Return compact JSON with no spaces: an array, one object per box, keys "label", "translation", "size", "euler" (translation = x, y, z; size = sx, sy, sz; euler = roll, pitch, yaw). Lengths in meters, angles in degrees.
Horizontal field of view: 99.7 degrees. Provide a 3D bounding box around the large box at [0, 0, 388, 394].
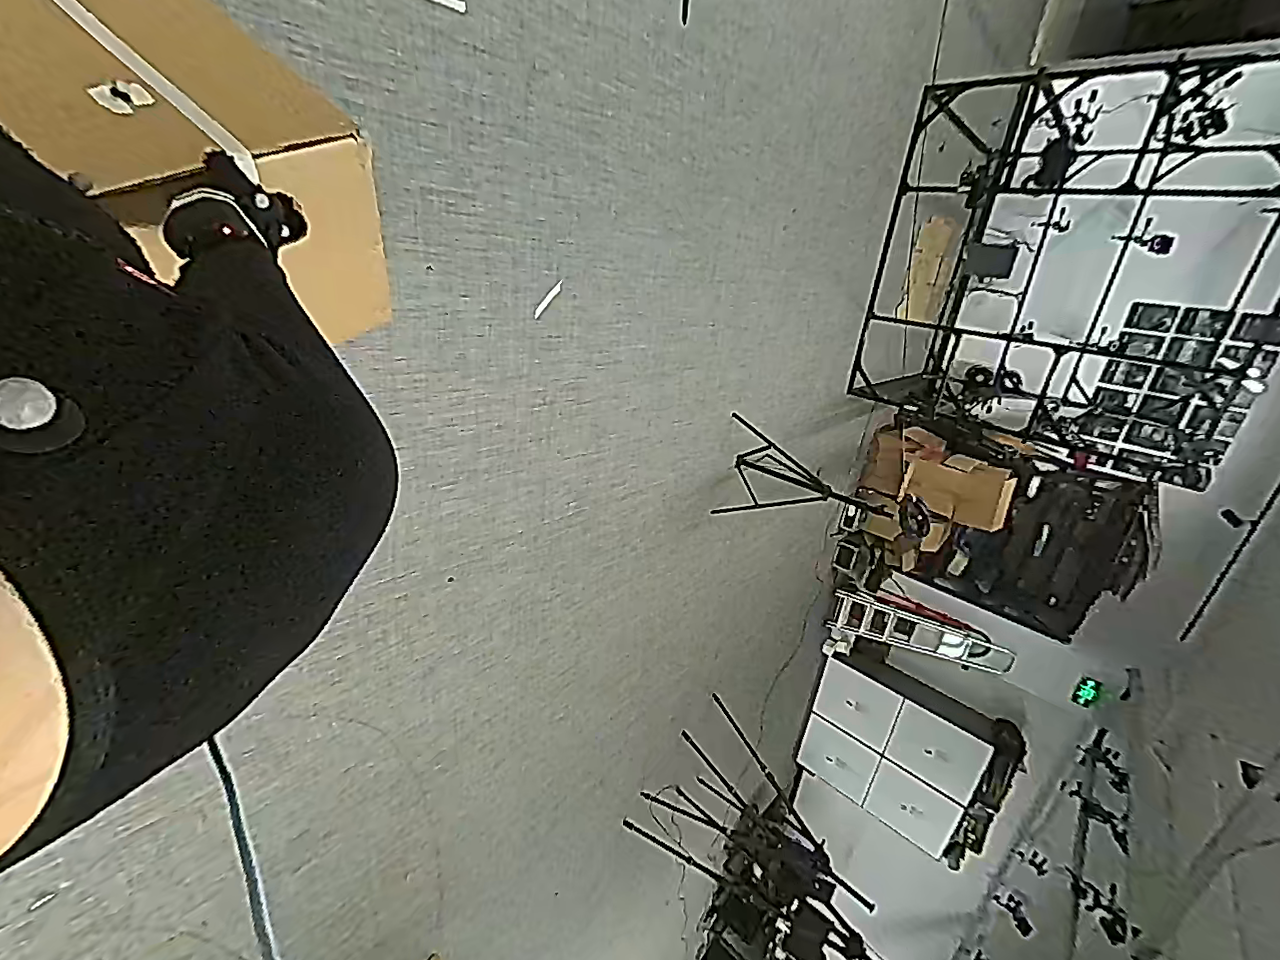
[{"label":"large box","translation":[-0.628,-0.403,0.761],"size":[0.320,0.408,0.320],"euler":[-43,169,-34]}]
